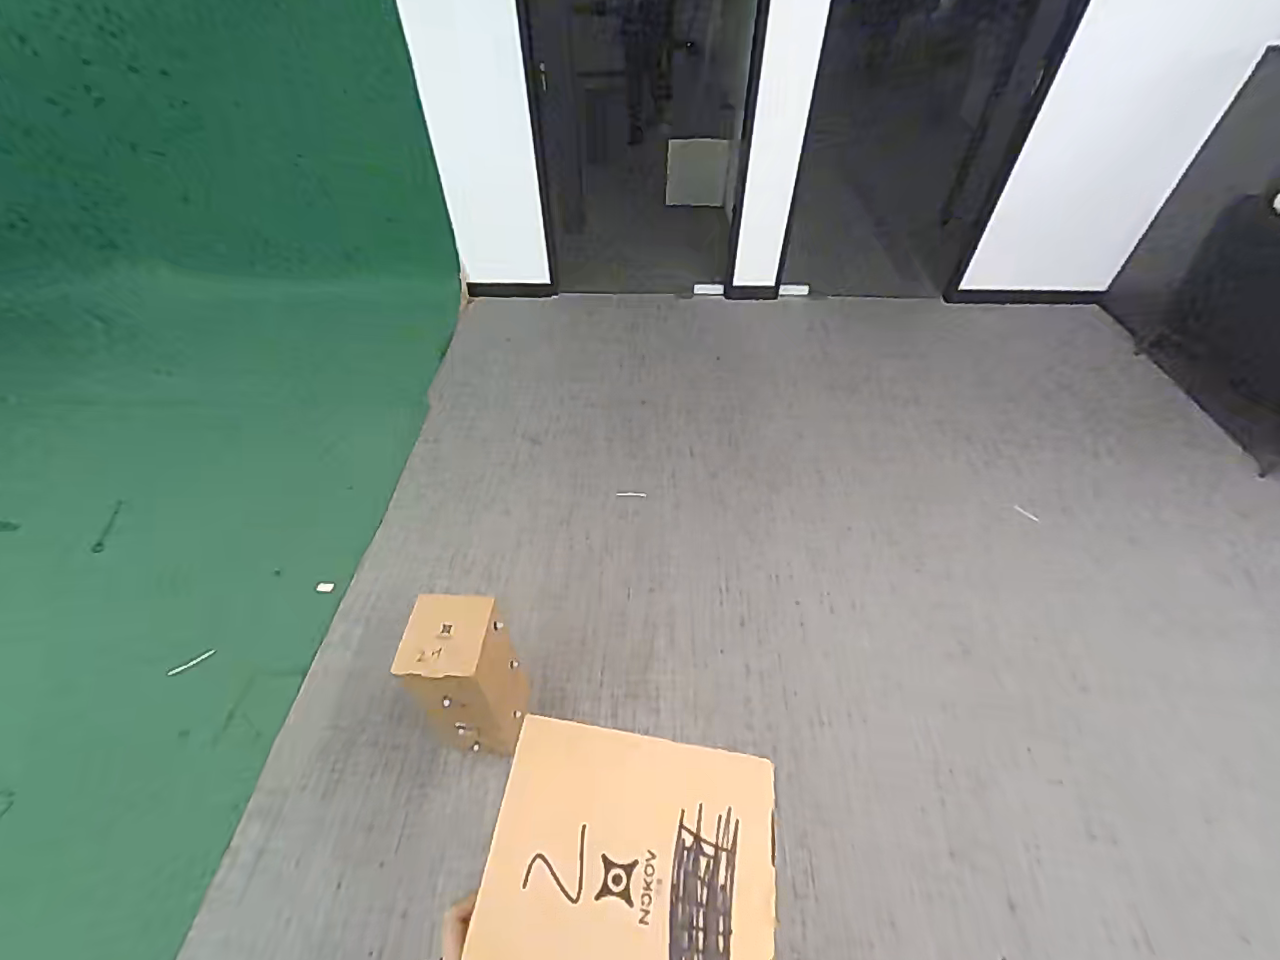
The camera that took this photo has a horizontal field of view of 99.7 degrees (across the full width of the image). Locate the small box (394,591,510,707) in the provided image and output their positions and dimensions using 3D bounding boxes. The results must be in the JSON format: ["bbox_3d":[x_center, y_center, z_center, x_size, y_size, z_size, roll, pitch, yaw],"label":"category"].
[{"bbox_3d":[-0.378,0.353,1.131,0.168,0.176,0.179,1,47,3],"label":"small box"}]

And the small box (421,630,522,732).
[{"bbox_3d":[-0.379,0.462,1.254,0.168,0.176,0.179,1,48,3],"label":"small box"}]

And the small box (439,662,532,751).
[{"bbox_3d":[-0.382,0.571,1.375,0.168,0.176,0.179,5,48,4],"label":"small box"}]
